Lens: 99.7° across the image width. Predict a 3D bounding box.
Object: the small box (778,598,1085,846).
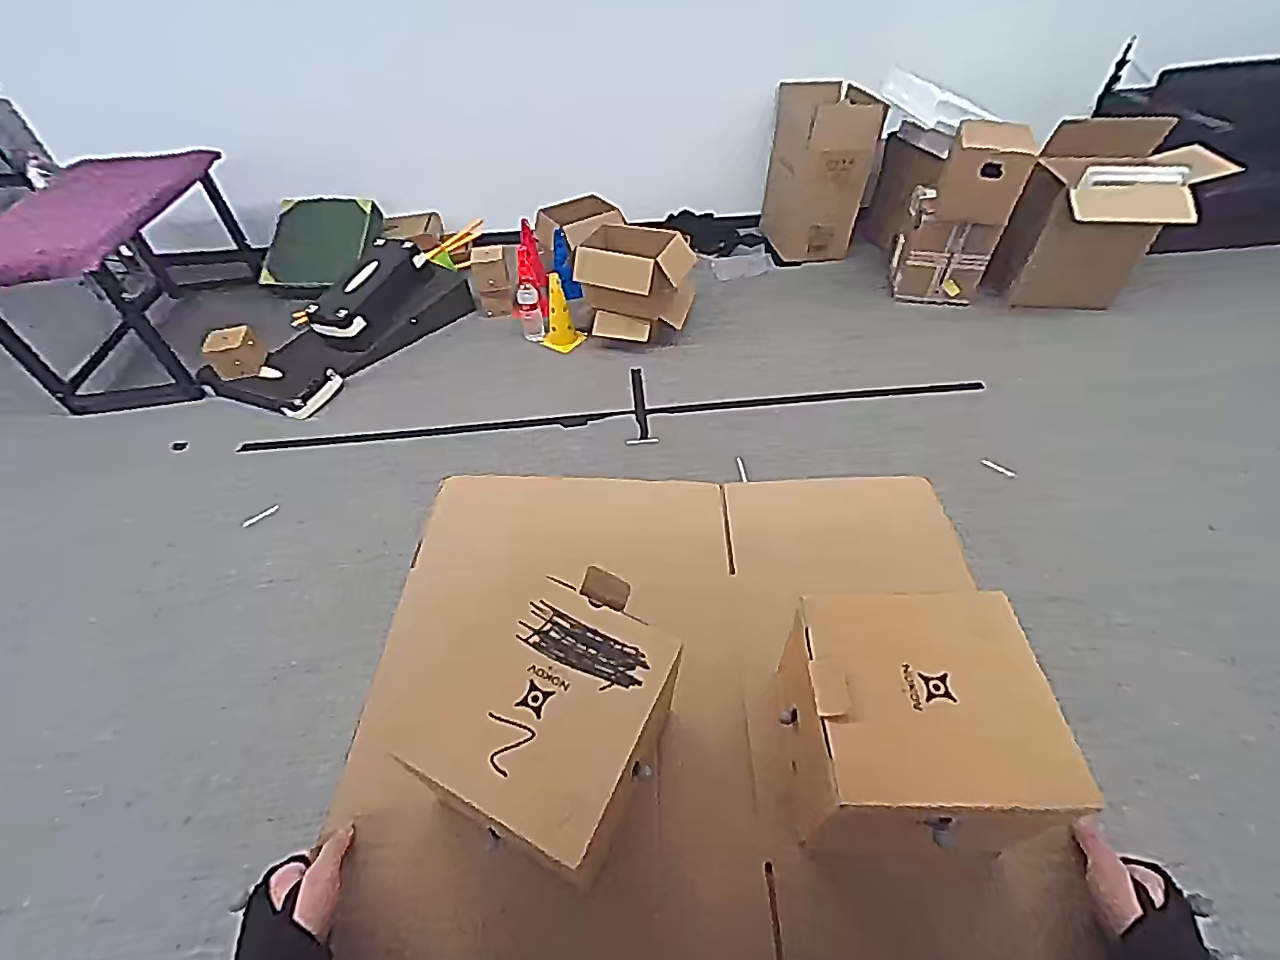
[{"bbox_3d":[0.233,0.221,0.492,0.179,0.176,0.168,-2,48,5],"label":"small box"}]
